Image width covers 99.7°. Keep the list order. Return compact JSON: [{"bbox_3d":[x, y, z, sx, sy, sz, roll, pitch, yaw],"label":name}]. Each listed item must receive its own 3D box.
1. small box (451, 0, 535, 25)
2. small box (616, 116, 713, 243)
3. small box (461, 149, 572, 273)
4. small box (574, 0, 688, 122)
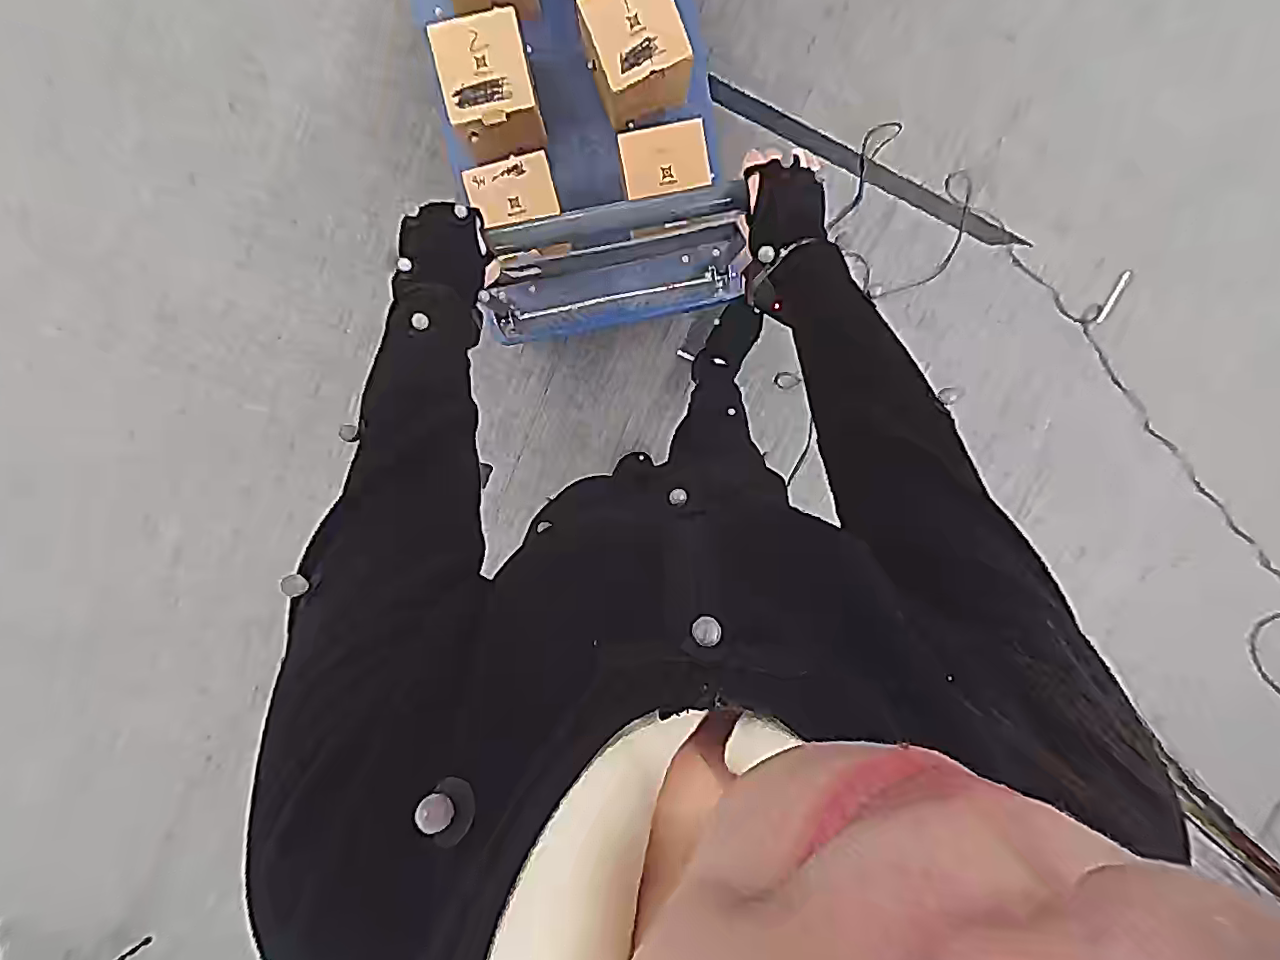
[{"bbox_3d":[-0.305,-1.028,1.032,0.168,0.176,0.179,-10,101,0],"label":"small box"},{"bbox_3d":[0.048,-0.604,1.114,0.168,0.176,0.179,-11,99,0],"label":"small box"},{"bbox_3d":[-0.244,-0.540,1.116,0.168,0.176,0.179,-15,100,0],"label":"small box"},{"bbox_3d":[-0.016,-0.850,1.071,0.168,0.176,0.179,-23,98,2],"label":"small box"}]
